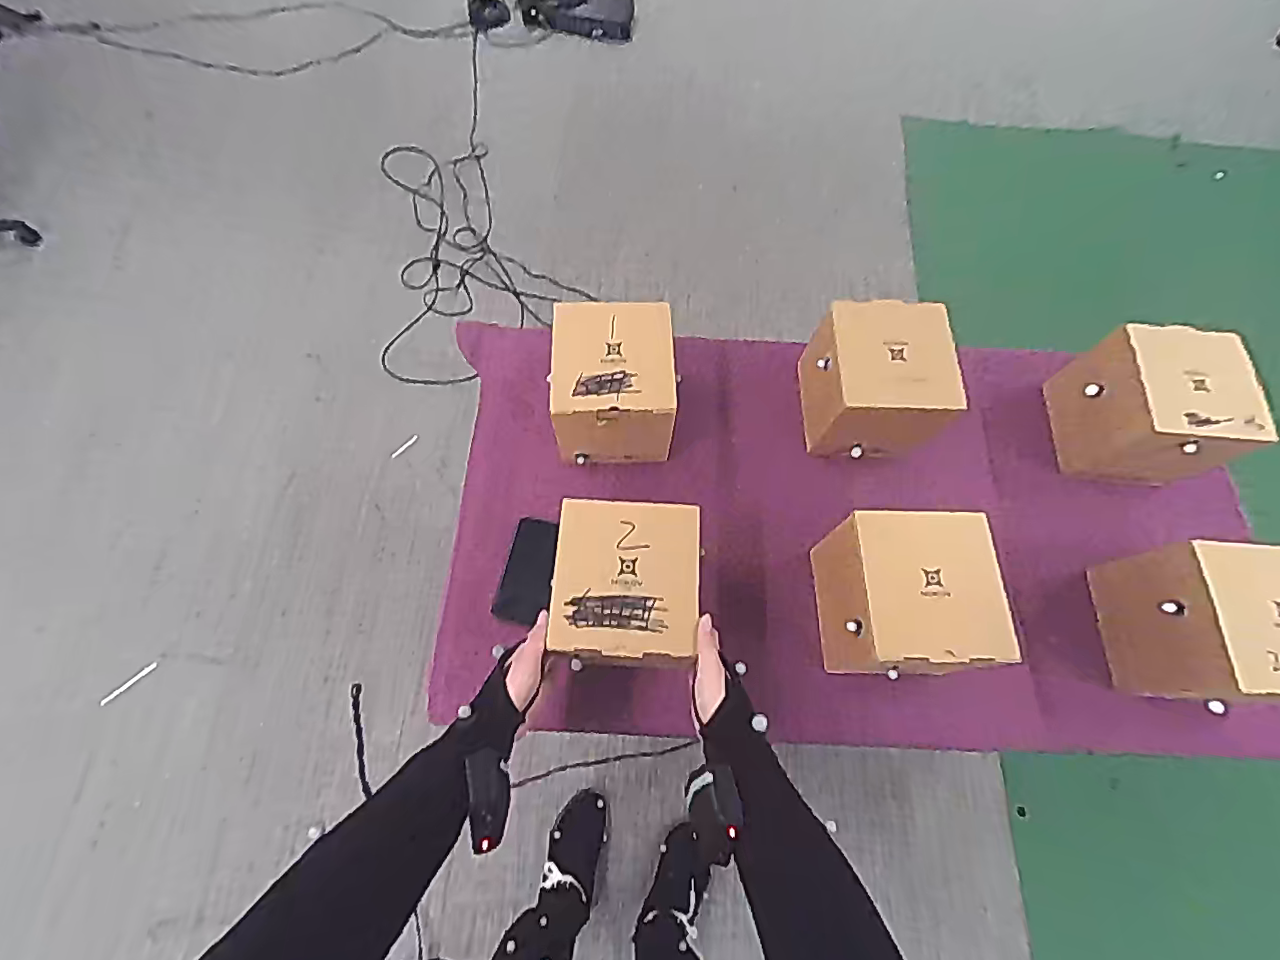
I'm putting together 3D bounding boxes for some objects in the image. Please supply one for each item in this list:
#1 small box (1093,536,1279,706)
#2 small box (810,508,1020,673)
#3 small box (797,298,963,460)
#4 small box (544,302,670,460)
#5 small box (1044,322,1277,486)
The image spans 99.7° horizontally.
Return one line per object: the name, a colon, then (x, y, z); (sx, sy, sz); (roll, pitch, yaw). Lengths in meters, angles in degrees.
small box: (0.729, 0.184, 0.685); (0.168, 0.176, 0.179); (4, 68, 1)
small box: (0.330, 0.147, 0.691); (0.168, 0.176, 0.179); (1, 67, -2)
small box: (0.343, -0.146, 0.813); (0.168, 0.176, 0.179); (2, 68, 0)
small box: (-0.045, -0.137, 0.795); (0.168, 0.176, 0.179); (-1, 67, -3)
small box: (0.752, -0.107, 0.809); (0.168, 0.176, 0.179); (5, 67, 1)
